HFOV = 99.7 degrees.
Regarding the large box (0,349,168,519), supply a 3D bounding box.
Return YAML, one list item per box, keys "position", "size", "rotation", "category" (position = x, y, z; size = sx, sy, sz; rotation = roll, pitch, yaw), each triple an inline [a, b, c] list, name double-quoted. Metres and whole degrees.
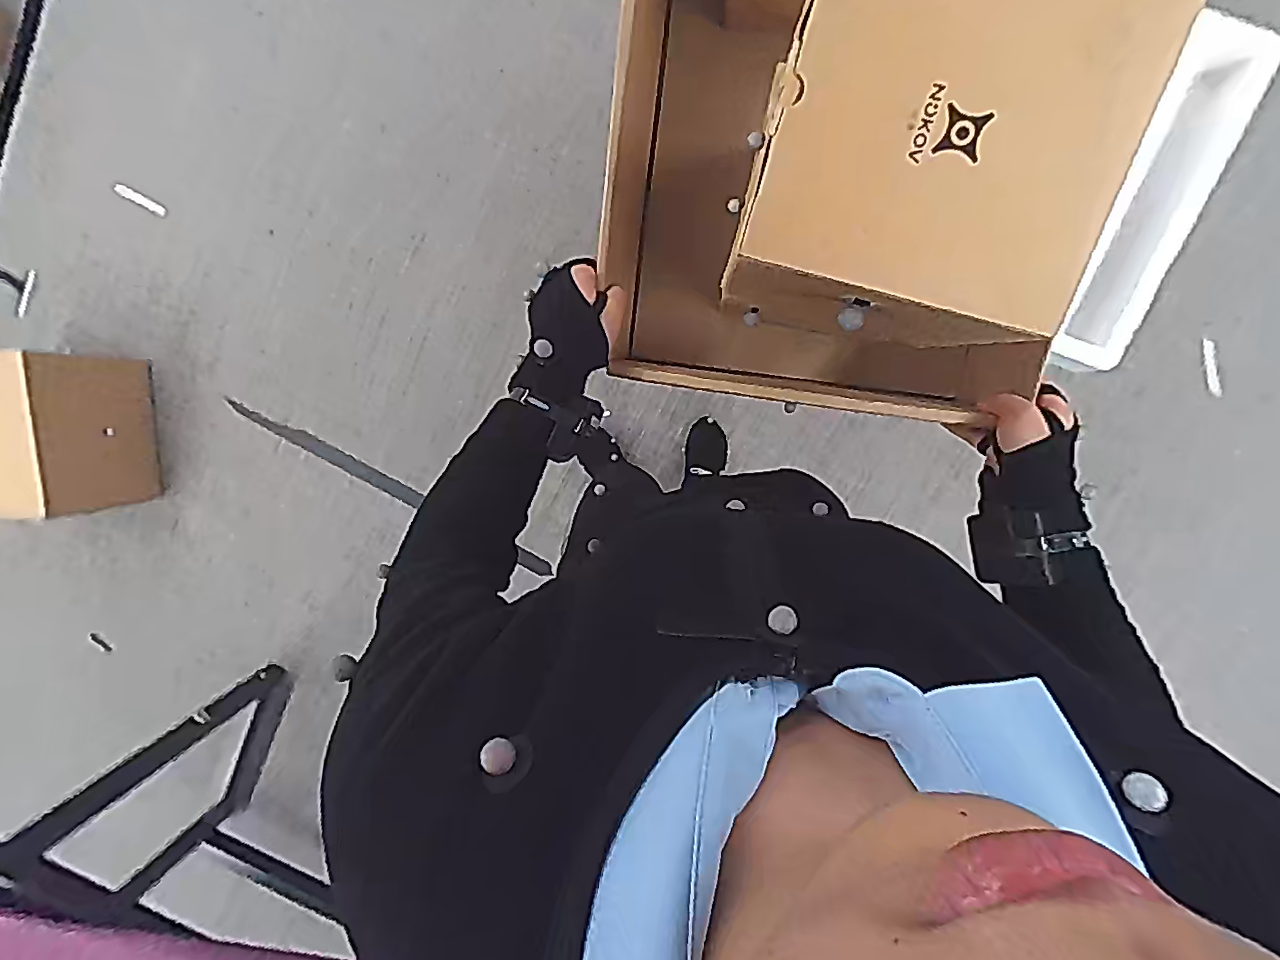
- position: [-1.545, -0.129, 1.421]
  size: [0.320, 0.320, 0.408]
  rotation: [1, 99, 4]
  category: "large box"
